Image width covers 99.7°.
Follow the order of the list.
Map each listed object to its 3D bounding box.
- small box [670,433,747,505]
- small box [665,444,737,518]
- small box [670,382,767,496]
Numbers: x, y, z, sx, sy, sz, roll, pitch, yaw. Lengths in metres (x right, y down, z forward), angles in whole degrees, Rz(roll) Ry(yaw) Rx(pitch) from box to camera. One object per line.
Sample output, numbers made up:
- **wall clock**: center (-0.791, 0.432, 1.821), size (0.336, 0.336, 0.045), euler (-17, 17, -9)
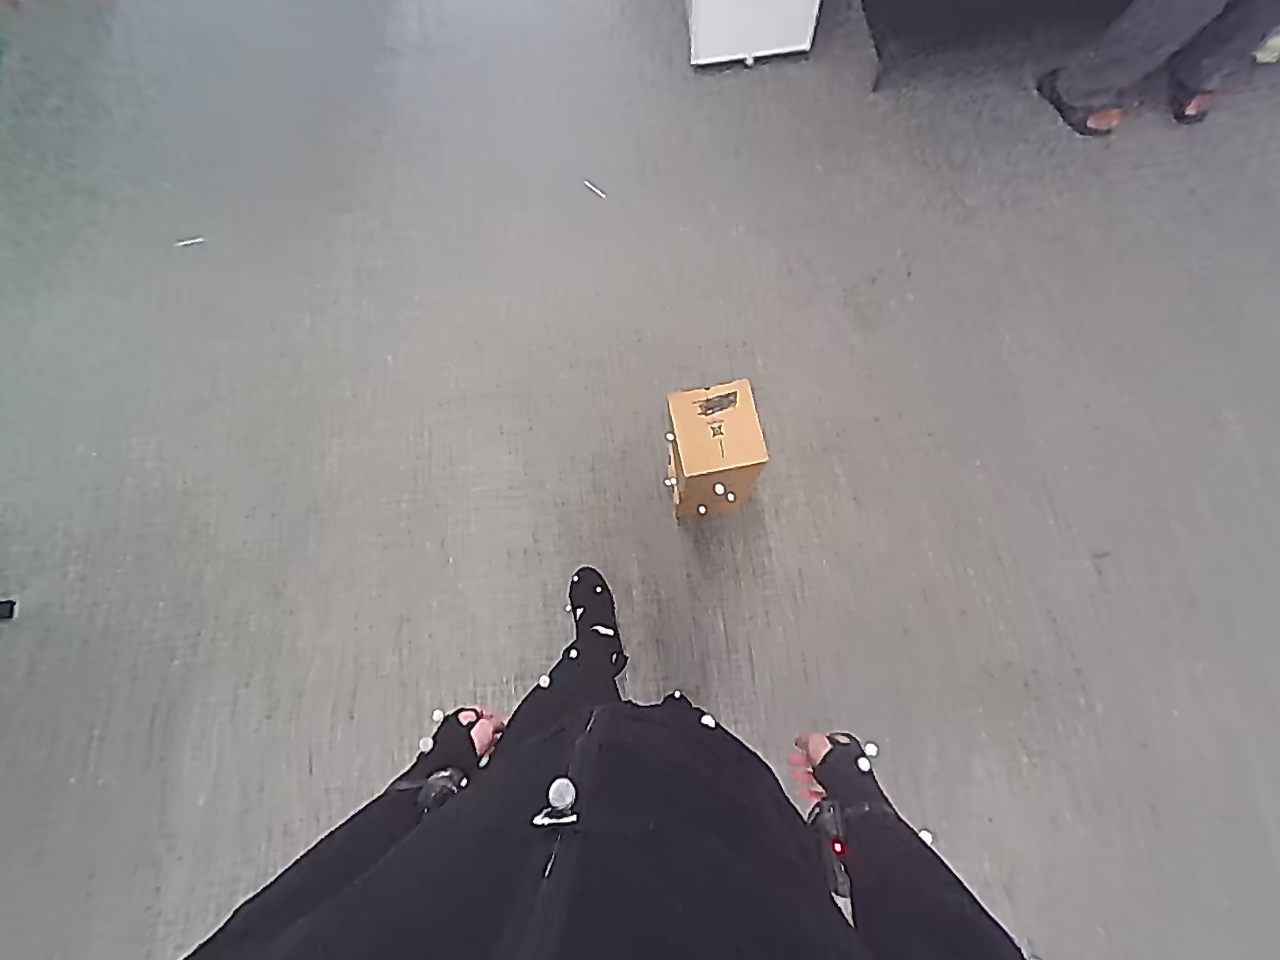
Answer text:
- **small box**: center (0.162, -0.044, 1.276), size (0.168, 0.176, 0.179), euler (-6, 73, 0)
- **small box**: center (0.165, -0.002, 1.452), size (0.179, 0.176, 0.168), euler (-8, 73, 0)
- **small box**: center (0.152, -0.079, 1.113), size (0.168, 0.176, 0.179), euler (-8, 75, 2)
